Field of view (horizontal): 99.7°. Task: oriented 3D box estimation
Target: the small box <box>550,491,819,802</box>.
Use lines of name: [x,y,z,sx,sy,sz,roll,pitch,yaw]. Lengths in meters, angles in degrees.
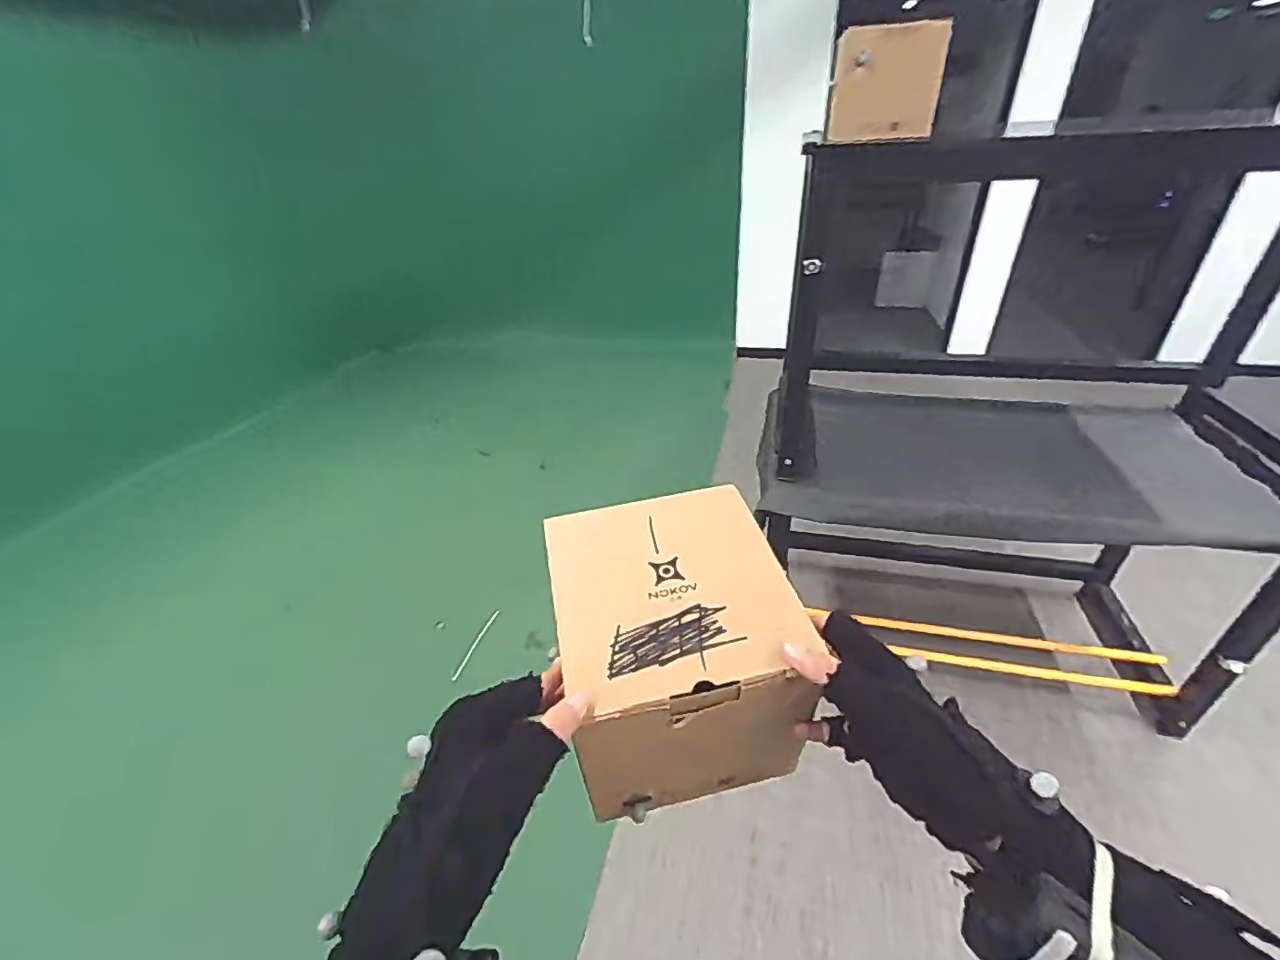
small box: [0.025,0.138,0.446,0.168,0.176,0.179,-10,40,-7]
